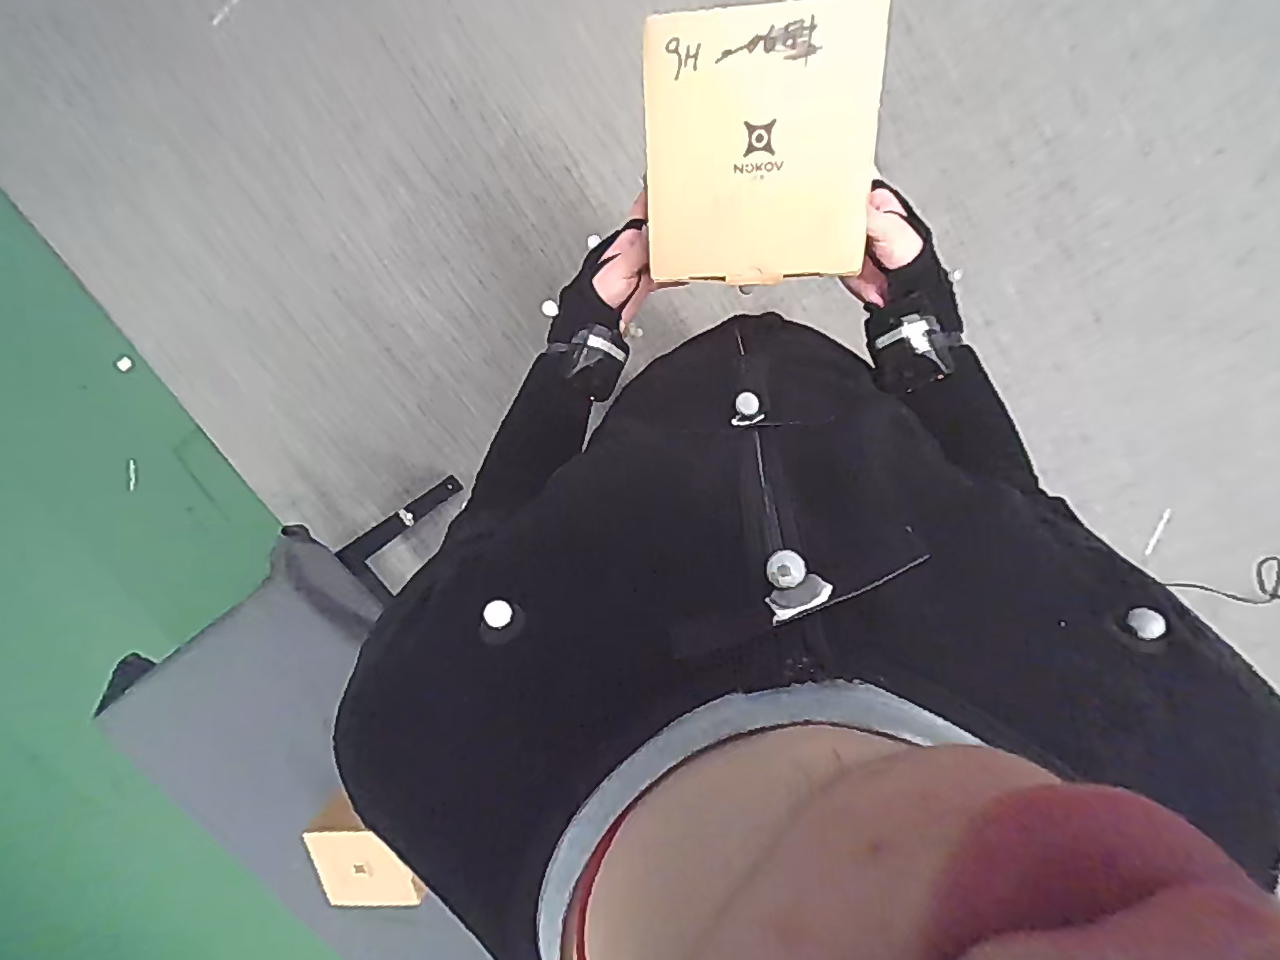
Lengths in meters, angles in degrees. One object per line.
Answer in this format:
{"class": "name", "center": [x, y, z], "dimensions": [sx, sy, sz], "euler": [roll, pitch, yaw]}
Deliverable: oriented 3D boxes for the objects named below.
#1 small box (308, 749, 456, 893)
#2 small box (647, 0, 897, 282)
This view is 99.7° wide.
{"class": "small box", "center": [-0.466, 0.630, 1.013], "dimensions": [0.179, 0.176, 0.168], "euler": [-7, 105, 10]}
{"class": "small box", "center": [0.097, -0.272, 0.463], "dimensions": [0.168, 0.176, 0.179], "euler": [0, 114, 6]}
